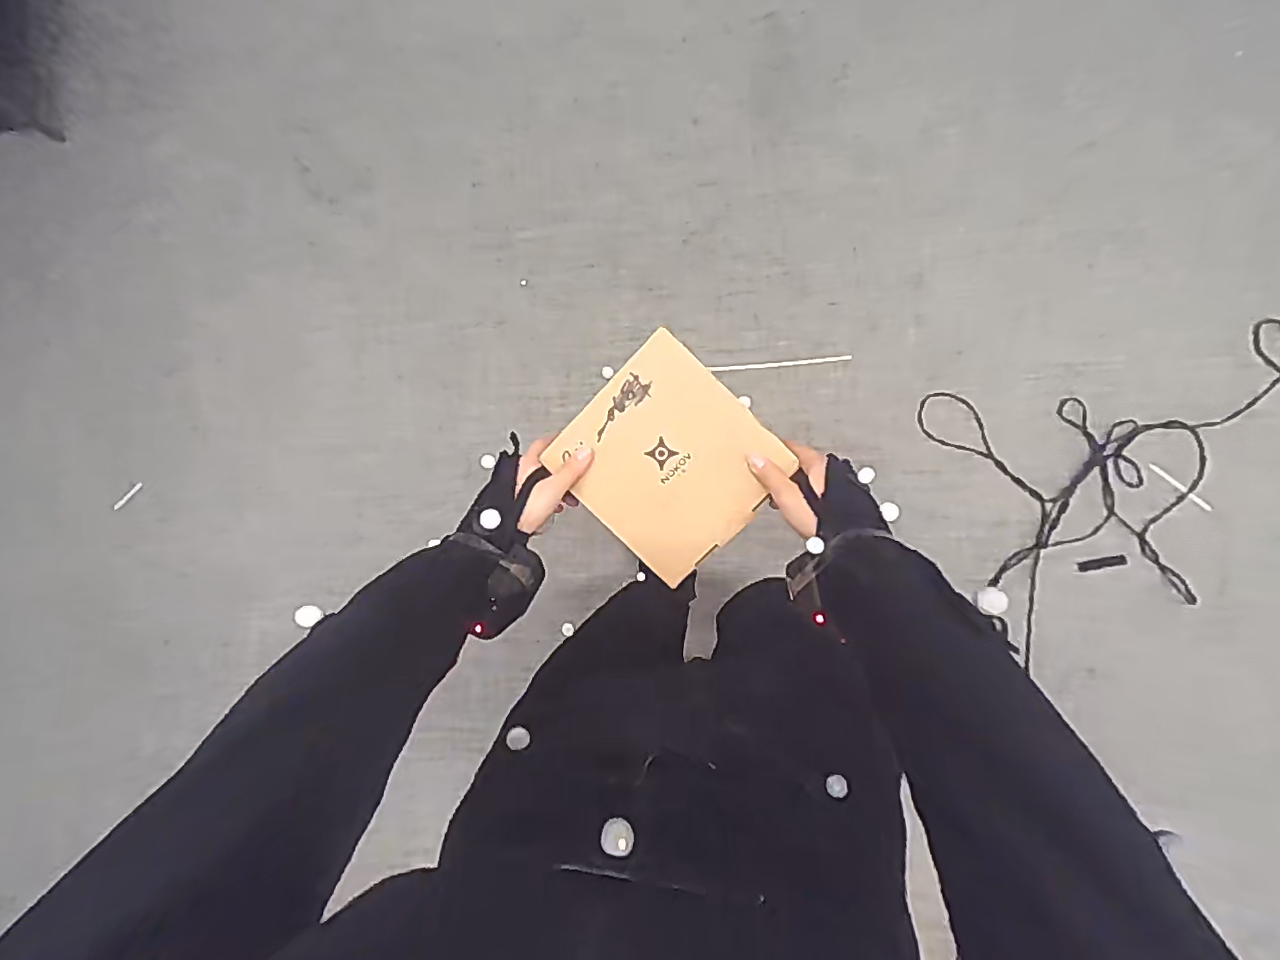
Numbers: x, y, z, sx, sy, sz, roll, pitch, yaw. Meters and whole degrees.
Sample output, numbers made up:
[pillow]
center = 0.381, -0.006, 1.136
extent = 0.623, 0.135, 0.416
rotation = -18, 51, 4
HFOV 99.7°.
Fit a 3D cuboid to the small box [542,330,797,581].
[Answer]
[small box]
center = 0.032, -0.031, 0.567
extent = 0.179, 0.176, 0.168
rotation = 45, 98, -2
